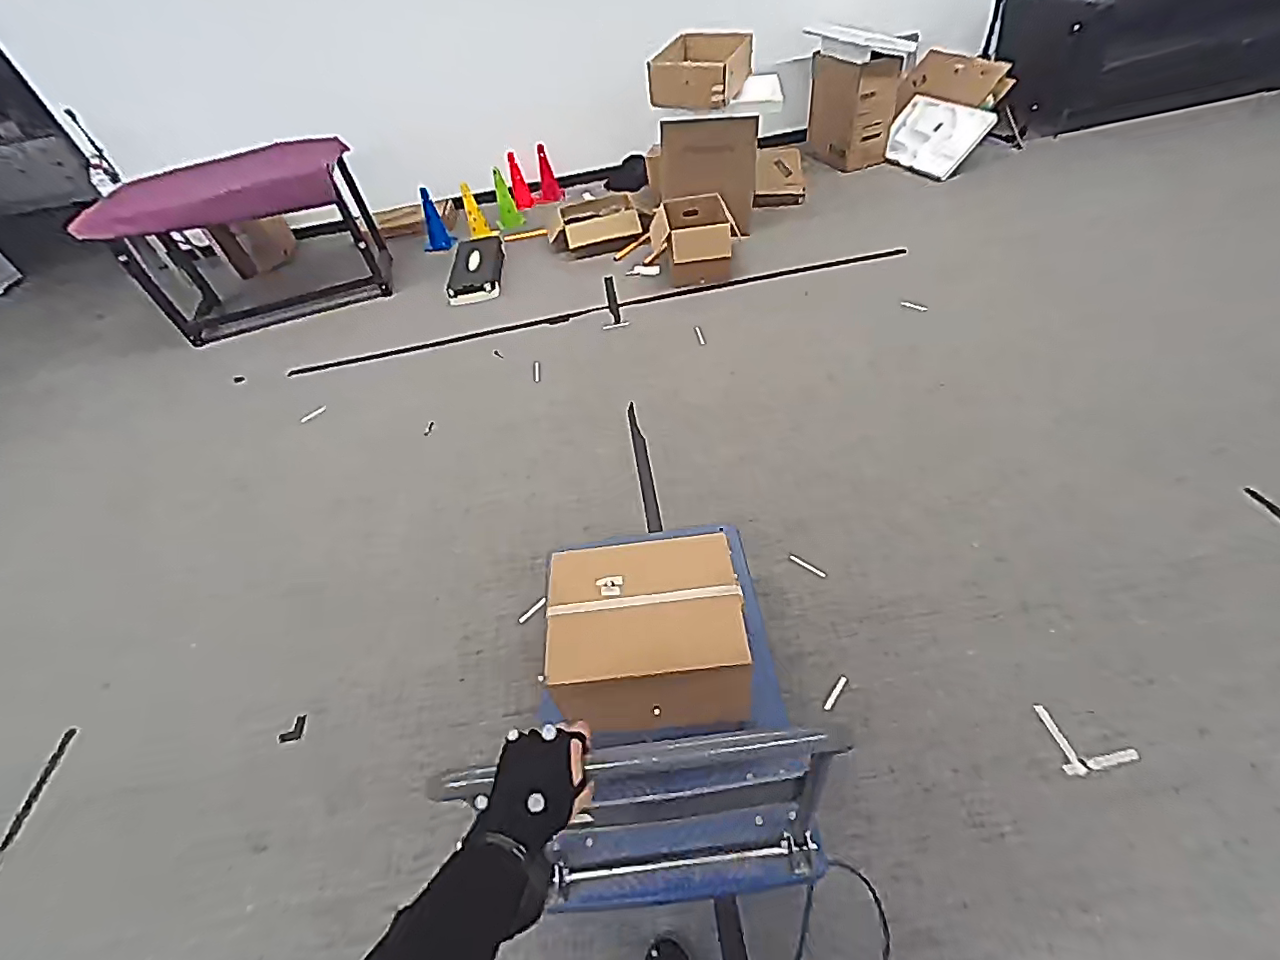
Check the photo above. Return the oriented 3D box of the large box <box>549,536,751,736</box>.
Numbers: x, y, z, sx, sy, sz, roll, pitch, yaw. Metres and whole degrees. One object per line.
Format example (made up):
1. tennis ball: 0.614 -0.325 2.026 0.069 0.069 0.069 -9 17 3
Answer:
1. large box: 0.028 0.369 1.258 0.408 0.320 0.320 -9 46 4
